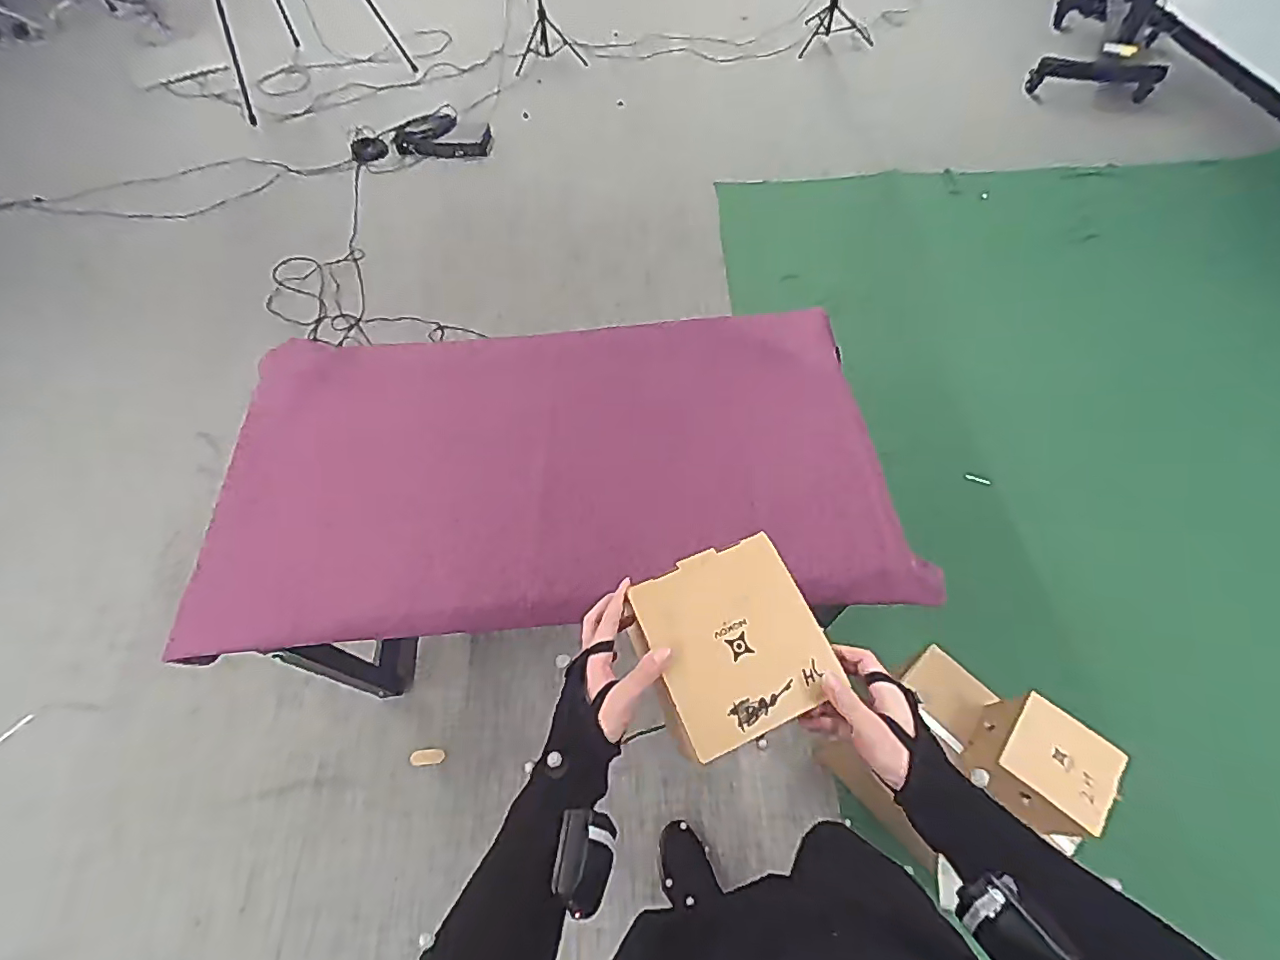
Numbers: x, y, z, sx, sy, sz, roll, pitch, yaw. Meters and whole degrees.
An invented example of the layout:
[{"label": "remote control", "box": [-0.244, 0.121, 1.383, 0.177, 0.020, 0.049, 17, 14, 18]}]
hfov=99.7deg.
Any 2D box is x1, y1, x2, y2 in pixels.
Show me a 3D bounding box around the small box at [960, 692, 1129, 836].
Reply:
[{"label": "small box", "box": [0.757, 0.542, 1.032, 0.179, 0.176, 0.168, 37, 66, 20]}]
